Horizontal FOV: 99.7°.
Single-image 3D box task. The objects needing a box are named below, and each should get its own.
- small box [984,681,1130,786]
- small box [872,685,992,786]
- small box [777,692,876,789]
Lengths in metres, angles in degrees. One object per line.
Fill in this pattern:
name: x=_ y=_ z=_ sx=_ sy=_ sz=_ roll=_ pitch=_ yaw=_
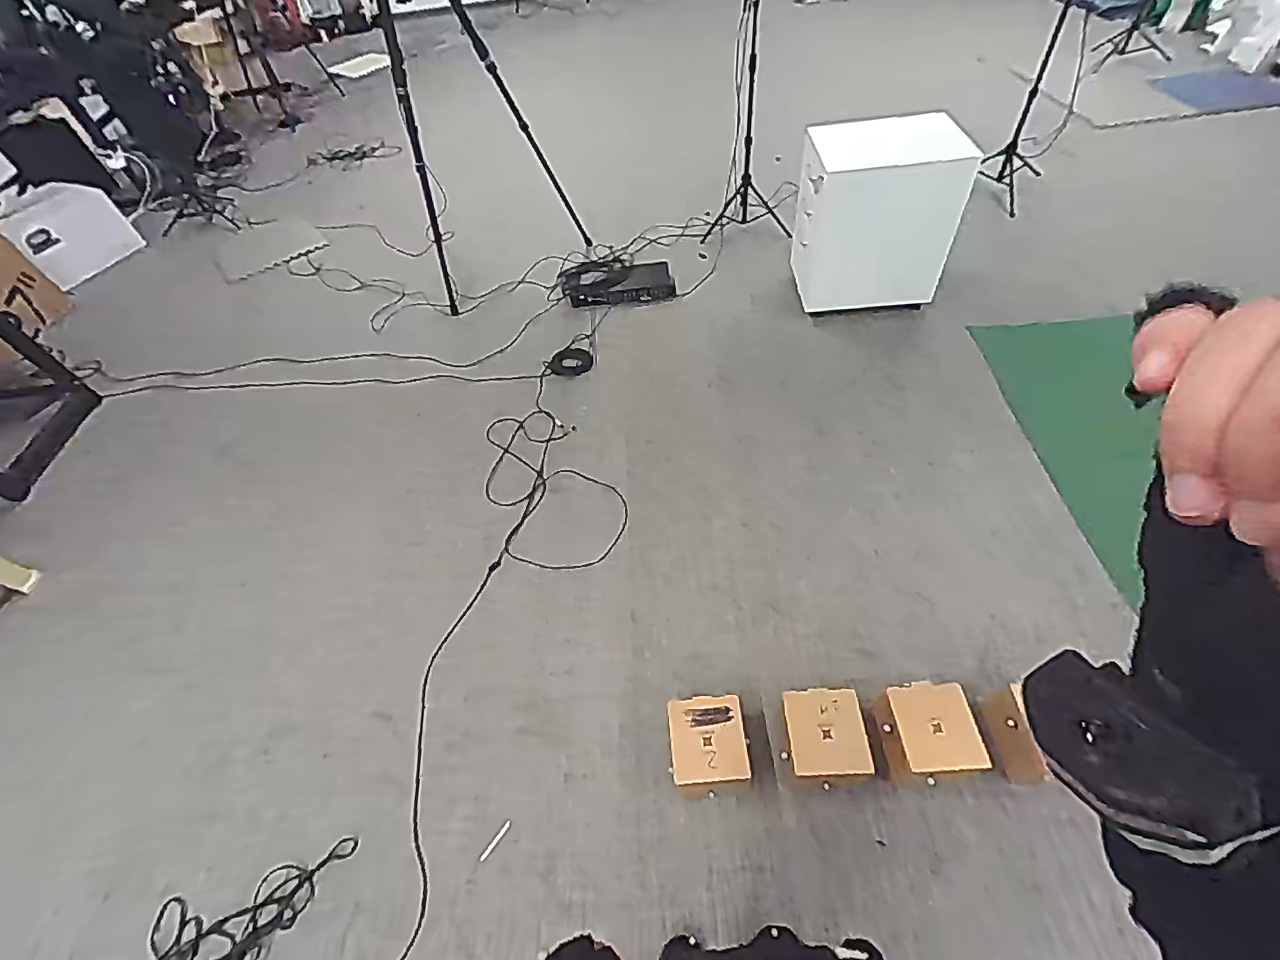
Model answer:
small box: x=0.910 y=0.566 z=1.204 sx=0.168 sy=0.176 sz=0.179 roll=-5 pitch=52 yaw=3
small box: x=0.648 y=0.583 z=1.224 sx=0.168 sy=0.176 sz=0.179 roll=-5 pitch=51 yaw=2
small box: x=0.416 y=0.599 z=1.235 sx=0.168 sy=0.176 sz=0.179 roll=-4 pitch=52 yaw=3
